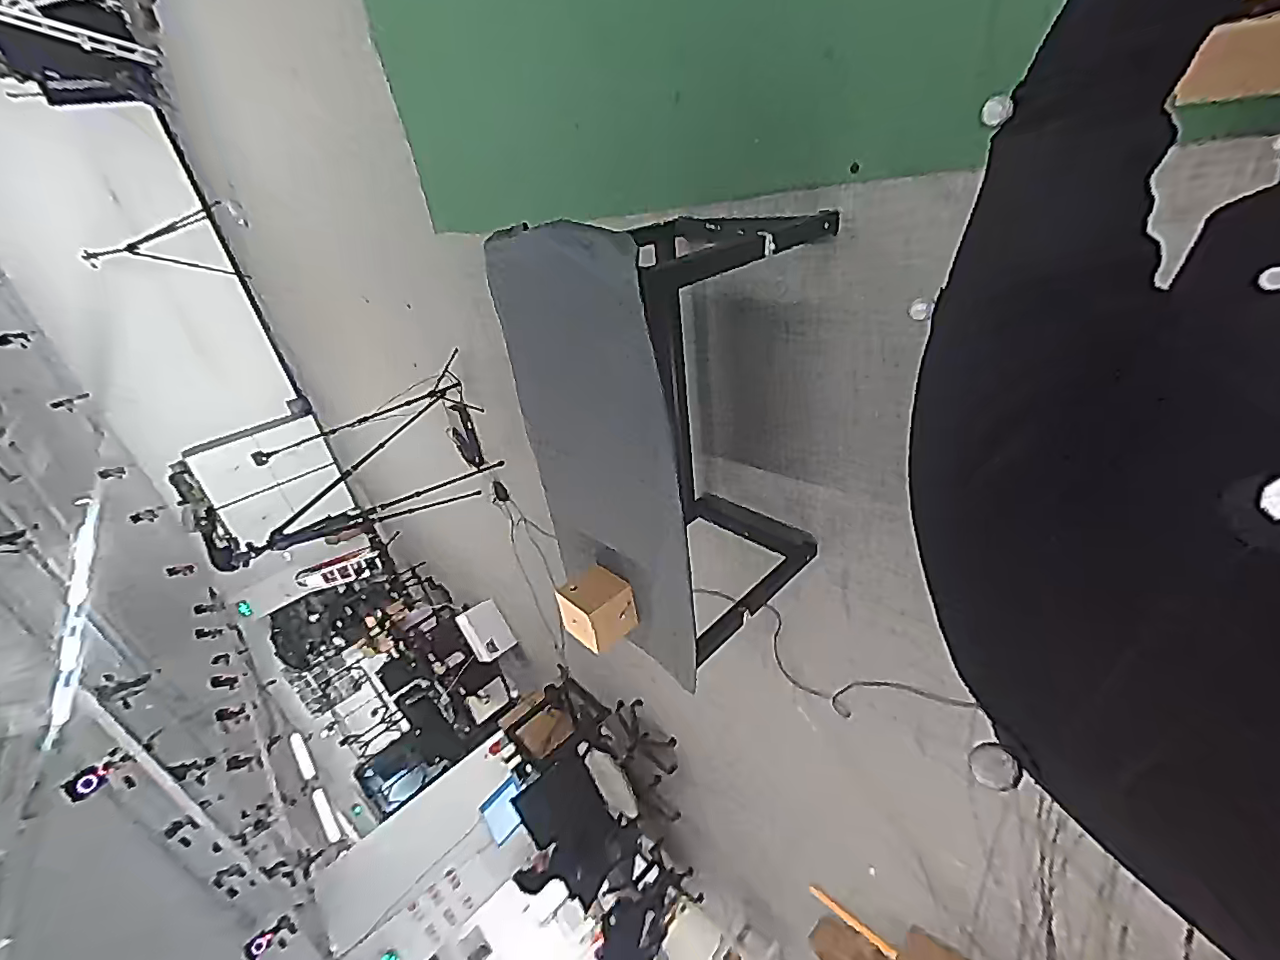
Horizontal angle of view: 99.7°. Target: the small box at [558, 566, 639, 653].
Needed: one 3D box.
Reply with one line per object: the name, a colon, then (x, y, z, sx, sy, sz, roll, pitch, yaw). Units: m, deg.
small box: (-0.126, 0.392, 1.675, 0.179, 0.176, 0.168, 22, 132, 43)
